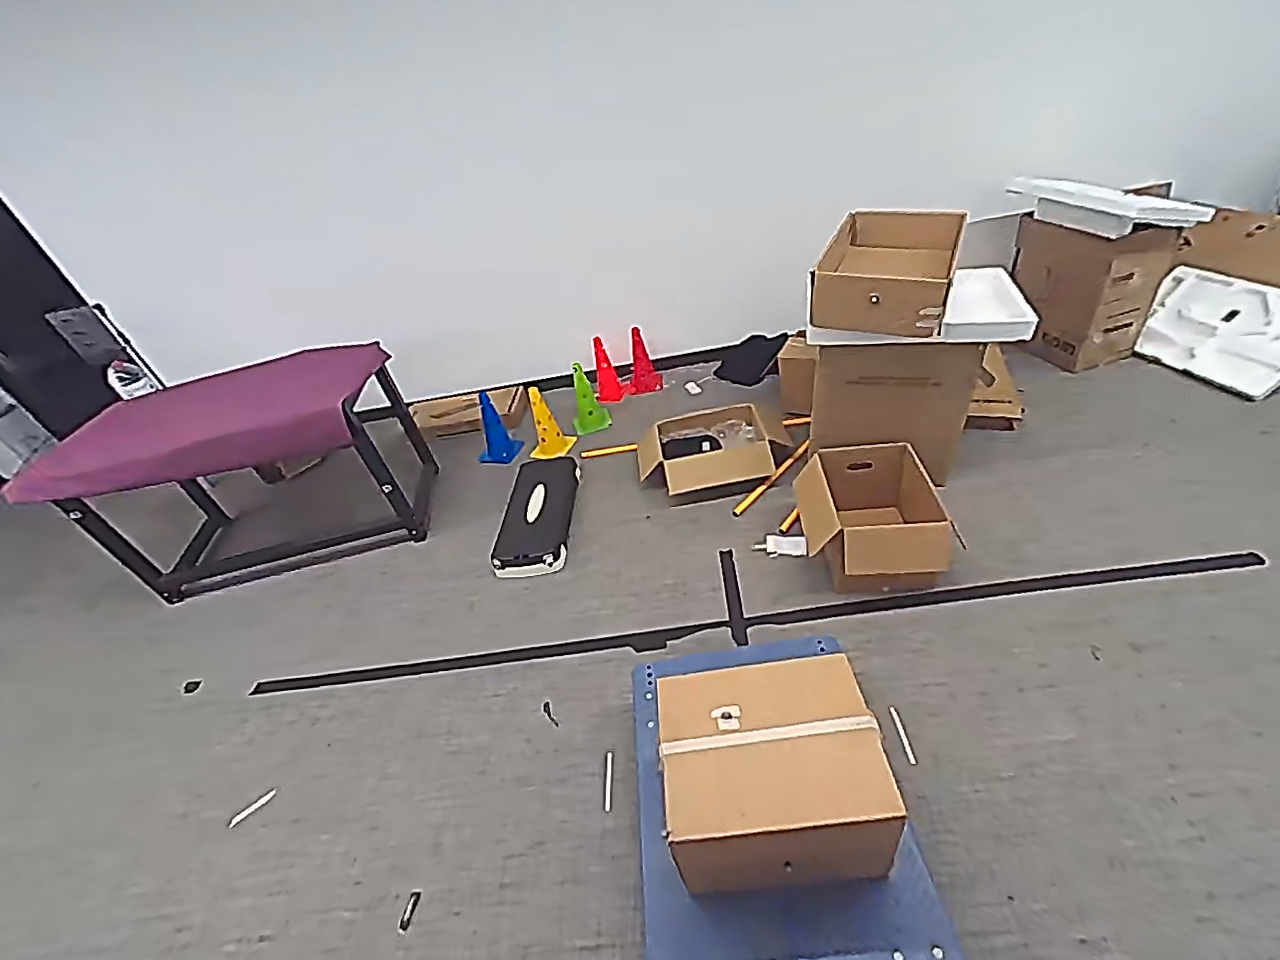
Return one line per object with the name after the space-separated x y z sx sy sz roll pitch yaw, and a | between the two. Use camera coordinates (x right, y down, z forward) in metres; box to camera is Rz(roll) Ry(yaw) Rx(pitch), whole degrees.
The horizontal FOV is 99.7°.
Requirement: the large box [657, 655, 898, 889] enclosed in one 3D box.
0.269 0.615 1.140 0.408 0.320 0.320 -11 37 5 | large box
